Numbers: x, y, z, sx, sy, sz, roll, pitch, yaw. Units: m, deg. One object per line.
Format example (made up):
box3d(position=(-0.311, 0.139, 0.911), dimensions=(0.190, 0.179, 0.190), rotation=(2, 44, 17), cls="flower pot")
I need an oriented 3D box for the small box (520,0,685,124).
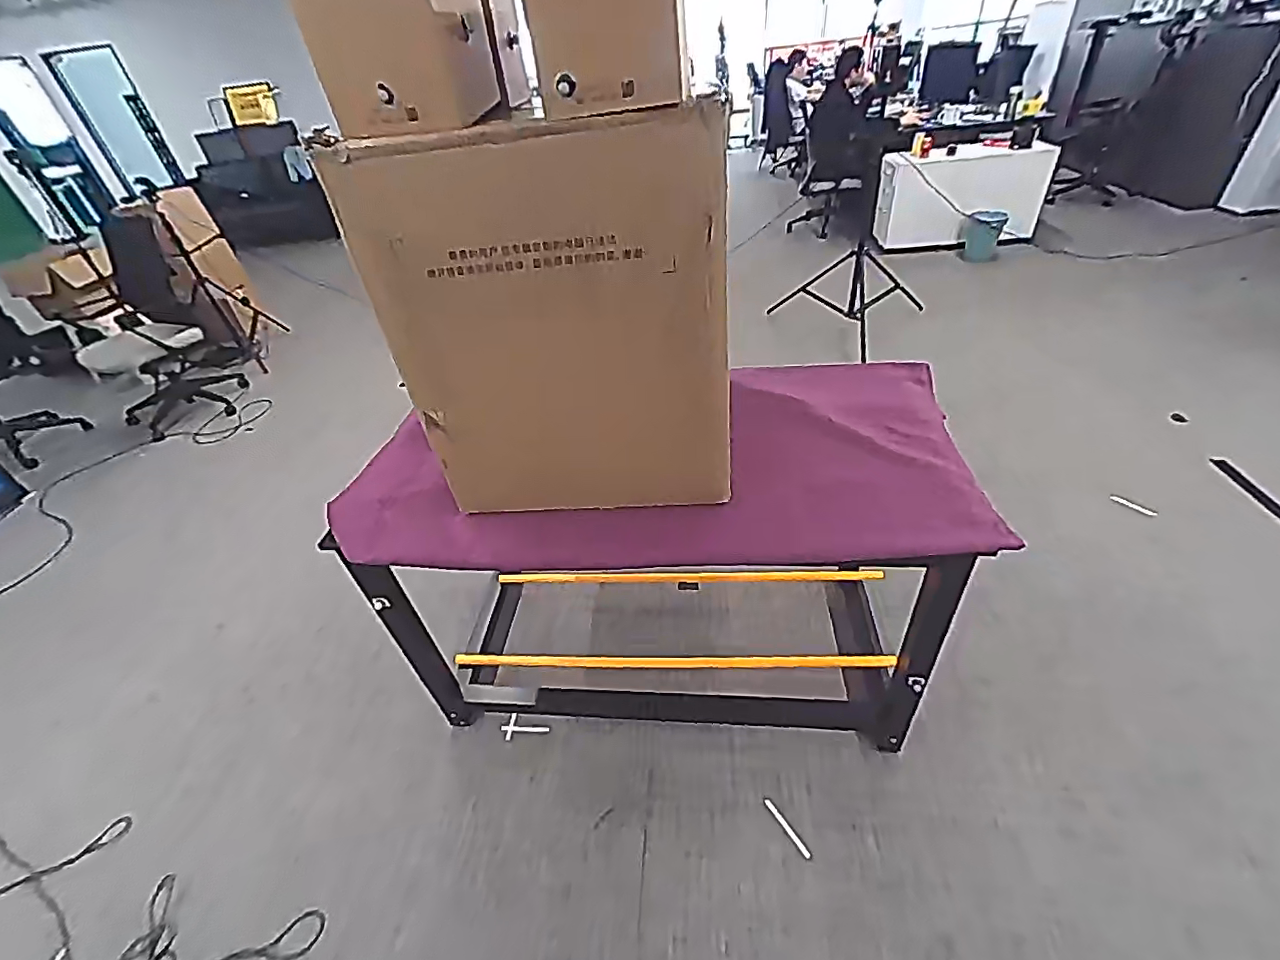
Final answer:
box3d(position=(-0.035, -0.534, 0.636), dimensions=(0.168, 0.176, 0.179), rotation=(-2, 41, 8), cls="small box")
